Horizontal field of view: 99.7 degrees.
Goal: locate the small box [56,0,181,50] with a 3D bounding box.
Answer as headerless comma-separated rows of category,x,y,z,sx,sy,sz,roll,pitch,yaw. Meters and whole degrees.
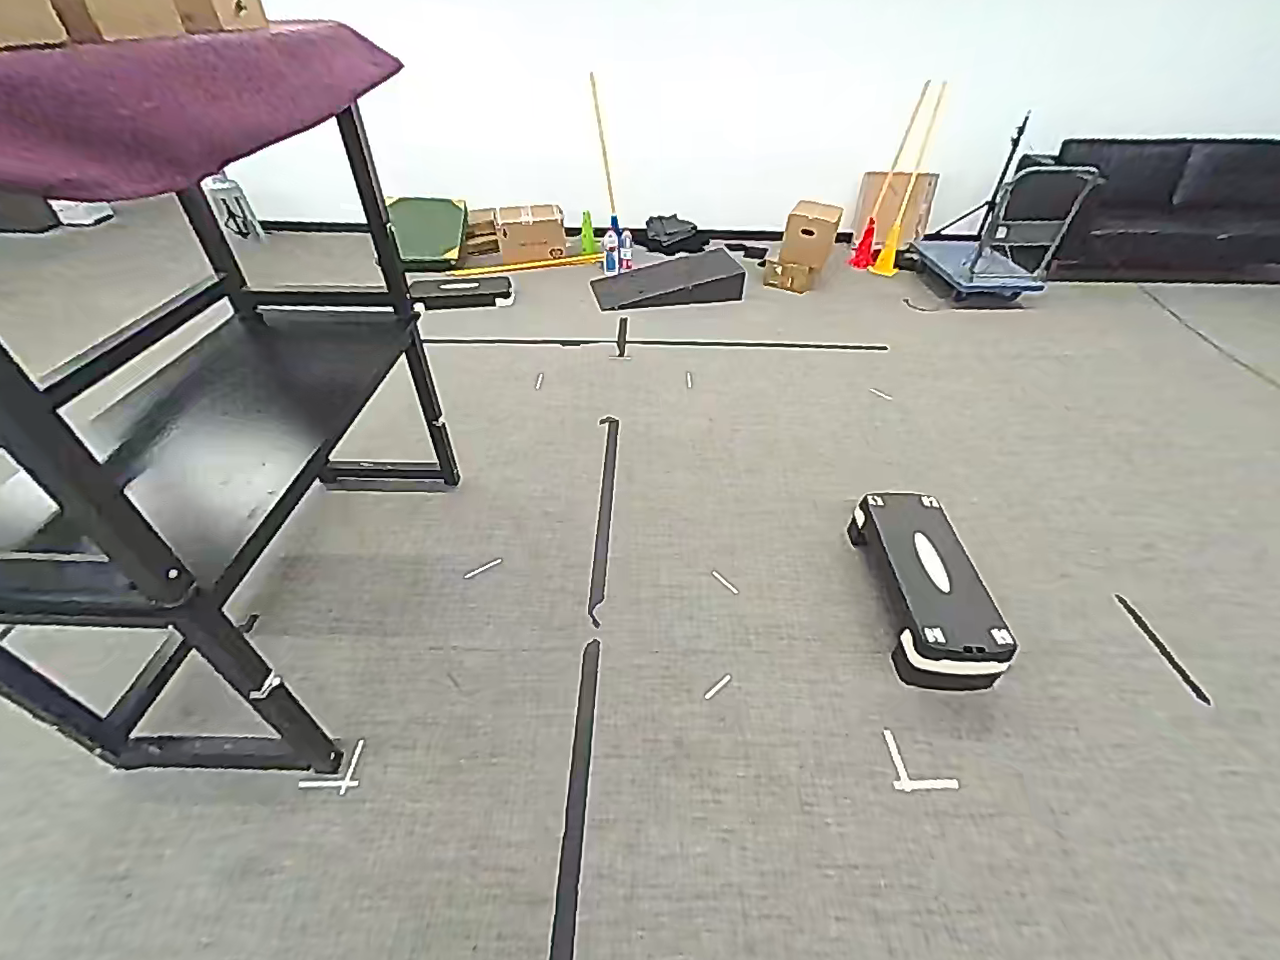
small box,-0.890,-0.799,0.859,0.168,0.176,0.179,5,42,5

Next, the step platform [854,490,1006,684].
step platform,0.942,0.319,1.822,0.286,0.204,0.684,5,40,4

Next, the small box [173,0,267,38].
small box,-0.920,-1.034,1.122,0.168,0.176,0.179,2,41,2
